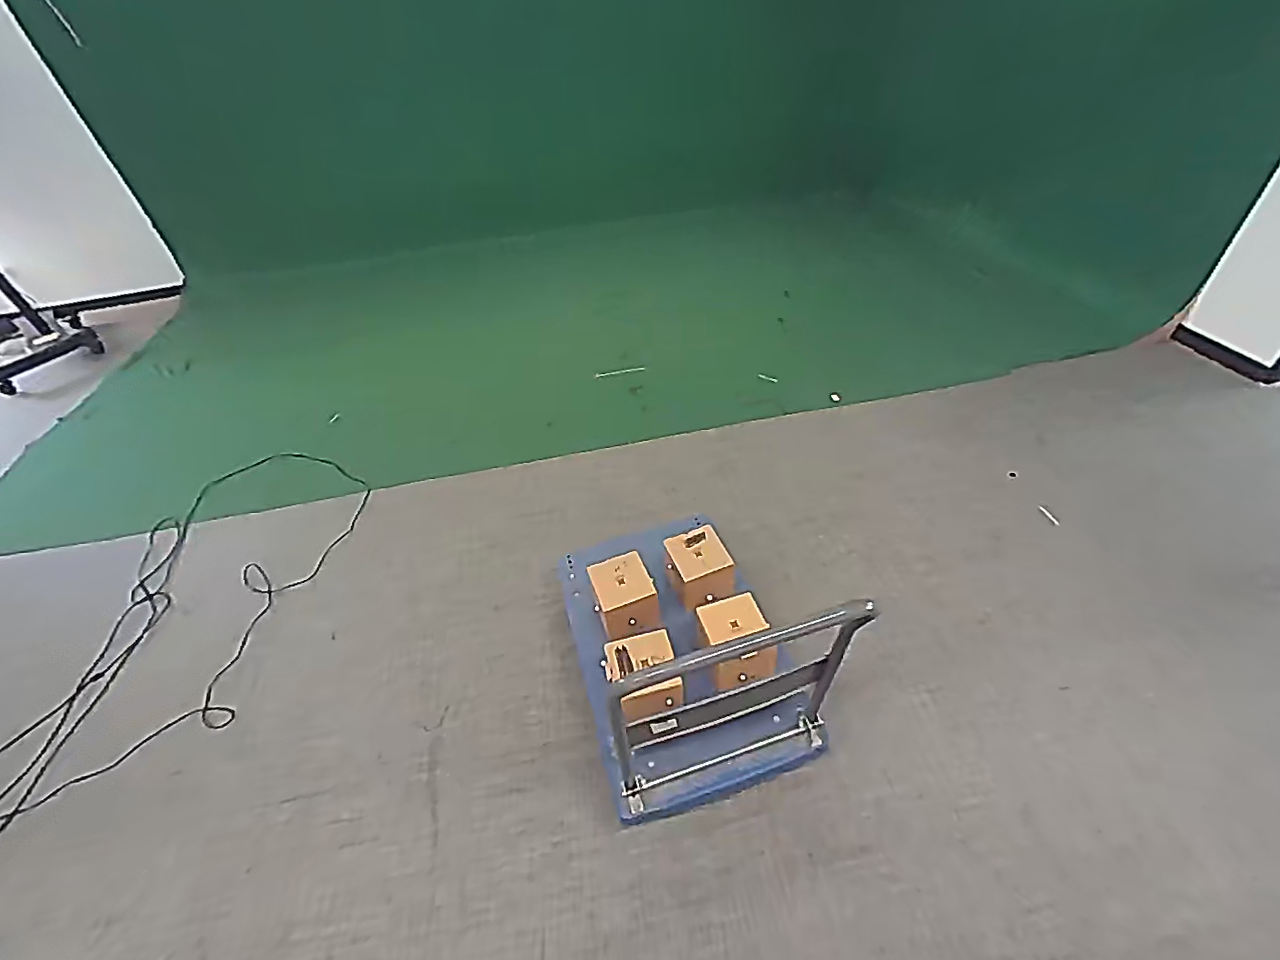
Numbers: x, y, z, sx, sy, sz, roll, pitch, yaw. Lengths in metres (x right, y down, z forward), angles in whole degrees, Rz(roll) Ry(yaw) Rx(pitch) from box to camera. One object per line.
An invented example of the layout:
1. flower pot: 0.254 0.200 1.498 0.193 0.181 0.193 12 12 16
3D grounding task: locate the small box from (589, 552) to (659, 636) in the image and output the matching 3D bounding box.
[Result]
1. small box: -0.046 0.359 1.675 0.168 0.176 0.179 -17 44 -12

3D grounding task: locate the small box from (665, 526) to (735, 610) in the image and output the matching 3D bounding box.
1. small box: 0.188 0.281 1.726 0.168 0.176 0.179 -18 45 -11

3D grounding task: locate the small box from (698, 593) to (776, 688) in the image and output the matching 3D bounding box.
1. small box: 0.267 0.455 1.535 0.168 0.176 0.179 -15 44 -8
